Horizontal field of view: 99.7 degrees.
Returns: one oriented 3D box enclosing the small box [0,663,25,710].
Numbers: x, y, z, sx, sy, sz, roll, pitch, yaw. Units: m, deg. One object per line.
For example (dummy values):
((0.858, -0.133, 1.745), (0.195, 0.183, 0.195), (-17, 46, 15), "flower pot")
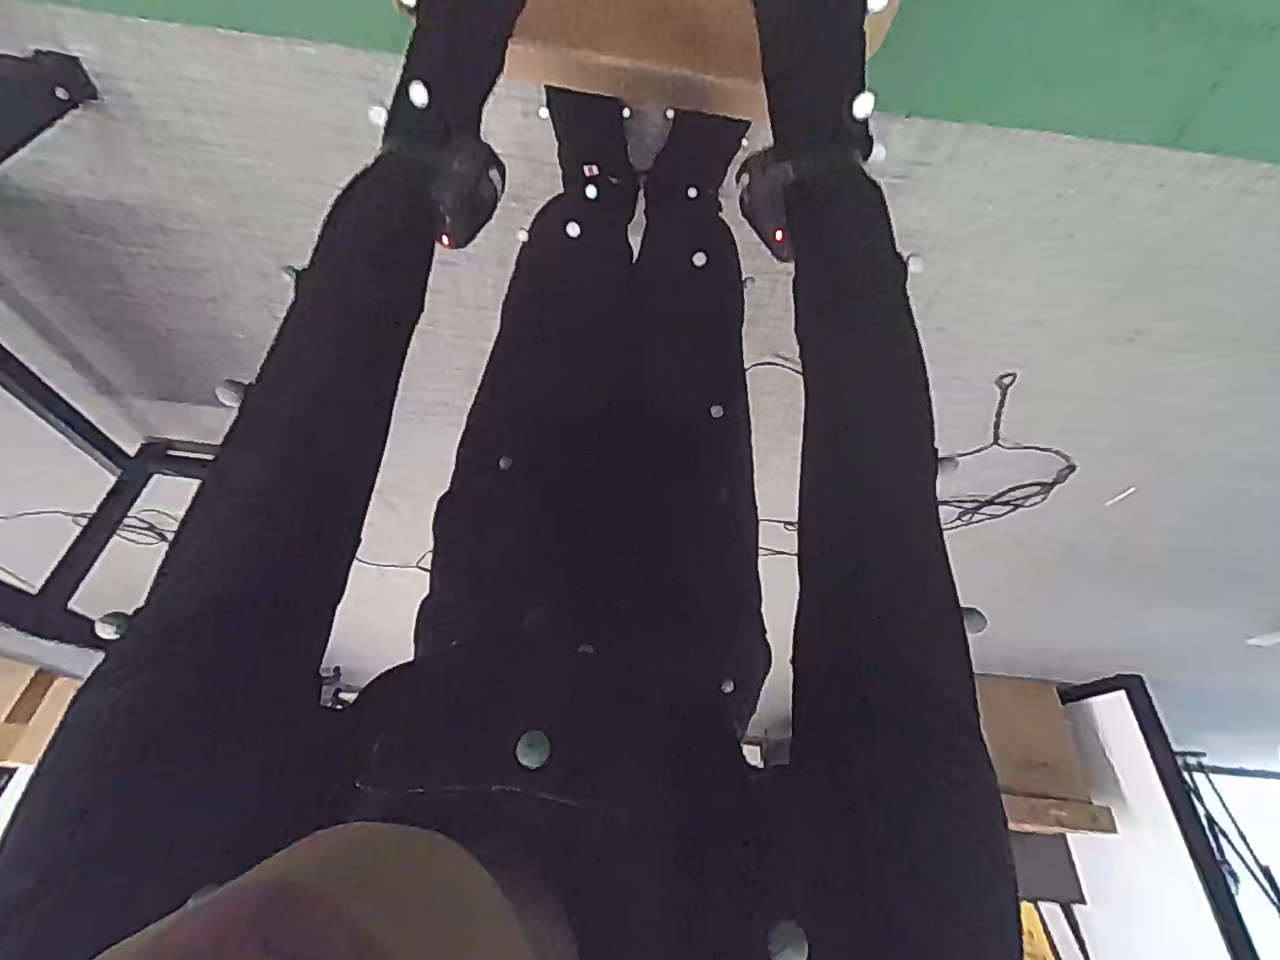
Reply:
((-1.256, 0.384, 0.929), (0.179, 0.176, 0.168), (5, 148, -1), "small box")
